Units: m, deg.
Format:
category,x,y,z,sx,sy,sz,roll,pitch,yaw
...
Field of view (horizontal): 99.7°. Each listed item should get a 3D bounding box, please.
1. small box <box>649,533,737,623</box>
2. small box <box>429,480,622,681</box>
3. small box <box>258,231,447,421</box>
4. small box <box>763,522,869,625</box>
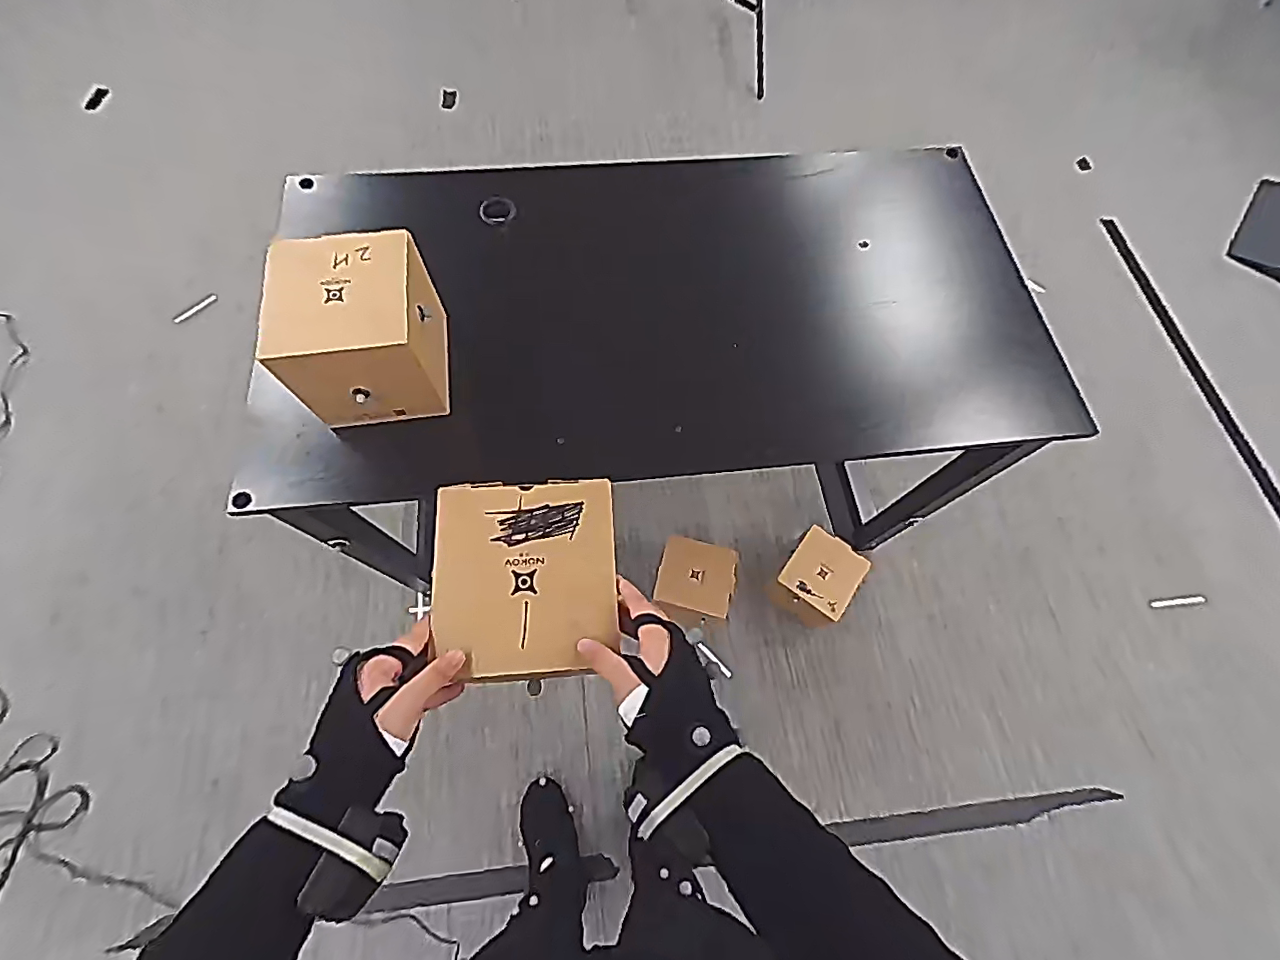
category,x,y,z,sx,sy,sz,roll,pitch,yaw
small box,0.127,0.249,1.341,0.179,0.176,0.168,13,68,4
small box,-0.108,0.112,0.566,0.168,0.176,0.179,-3,70,-5
small box,-0.359,-0.189,0.708,0.168,0.176,0.179,-8,68,-6
small box,0.430,0.239,1.353,0.168,0.176,0.179,35,71,12
